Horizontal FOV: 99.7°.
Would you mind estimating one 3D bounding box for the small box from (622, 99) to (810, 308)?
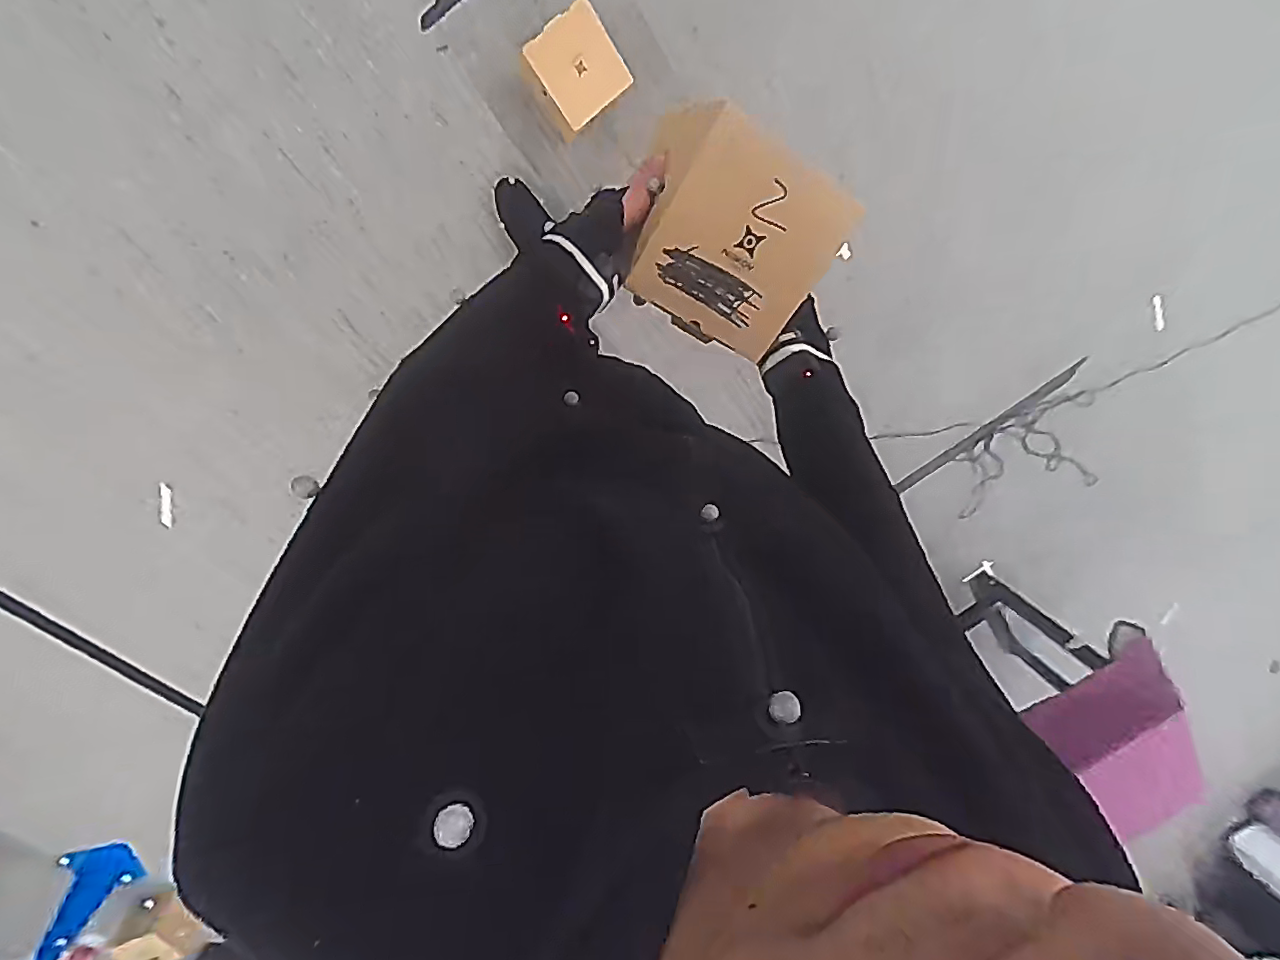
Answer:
[{"bbox_3d":[0.082,-0.361,0.706,0.168,0.176,0.179,19,121,-18],"label":"small box"}]

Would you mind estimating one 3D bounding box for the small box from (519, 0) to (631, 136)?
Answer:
[{"bbox_3d":[-0.145,-0.885,1.180,0.168,0.176,0.179,-38,116,6],"label":"small box"}]
